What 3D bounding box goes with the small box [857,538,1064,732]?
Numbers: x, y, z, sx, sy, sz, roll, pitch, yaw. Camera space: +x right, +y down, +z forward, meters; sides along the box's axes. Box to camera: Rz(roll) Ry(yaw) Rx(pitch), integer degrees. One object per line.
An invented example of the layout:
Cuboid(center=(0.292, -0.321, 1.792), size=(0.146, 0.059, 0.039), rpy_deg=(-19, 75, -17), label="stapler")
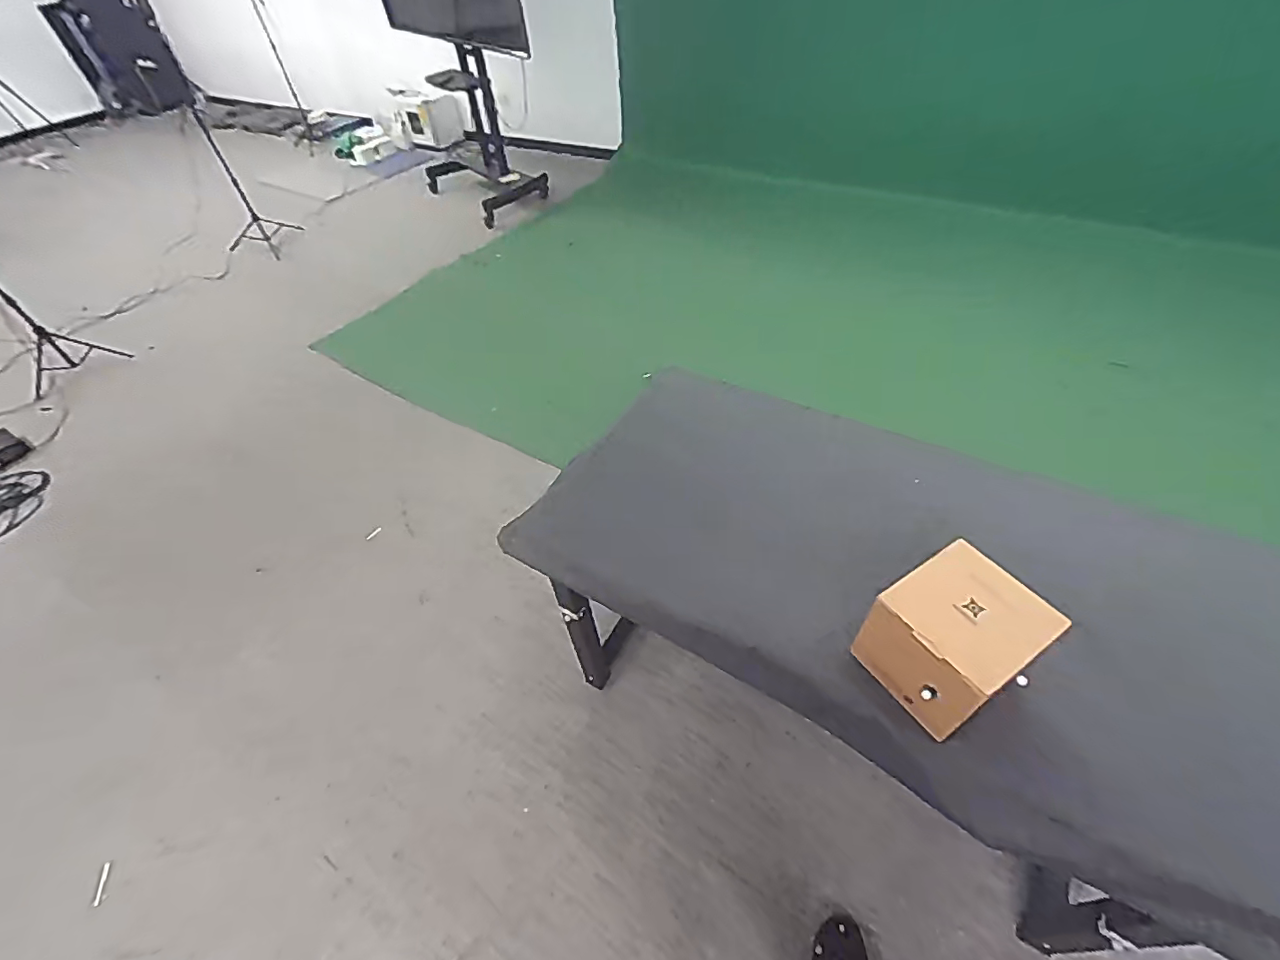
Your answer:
Cuboid(center=(0.436, 0.223, 0.771), size=(0.179, 0.176, 0.168), rpy_deg=(-27, 52, -20), label="small box")
